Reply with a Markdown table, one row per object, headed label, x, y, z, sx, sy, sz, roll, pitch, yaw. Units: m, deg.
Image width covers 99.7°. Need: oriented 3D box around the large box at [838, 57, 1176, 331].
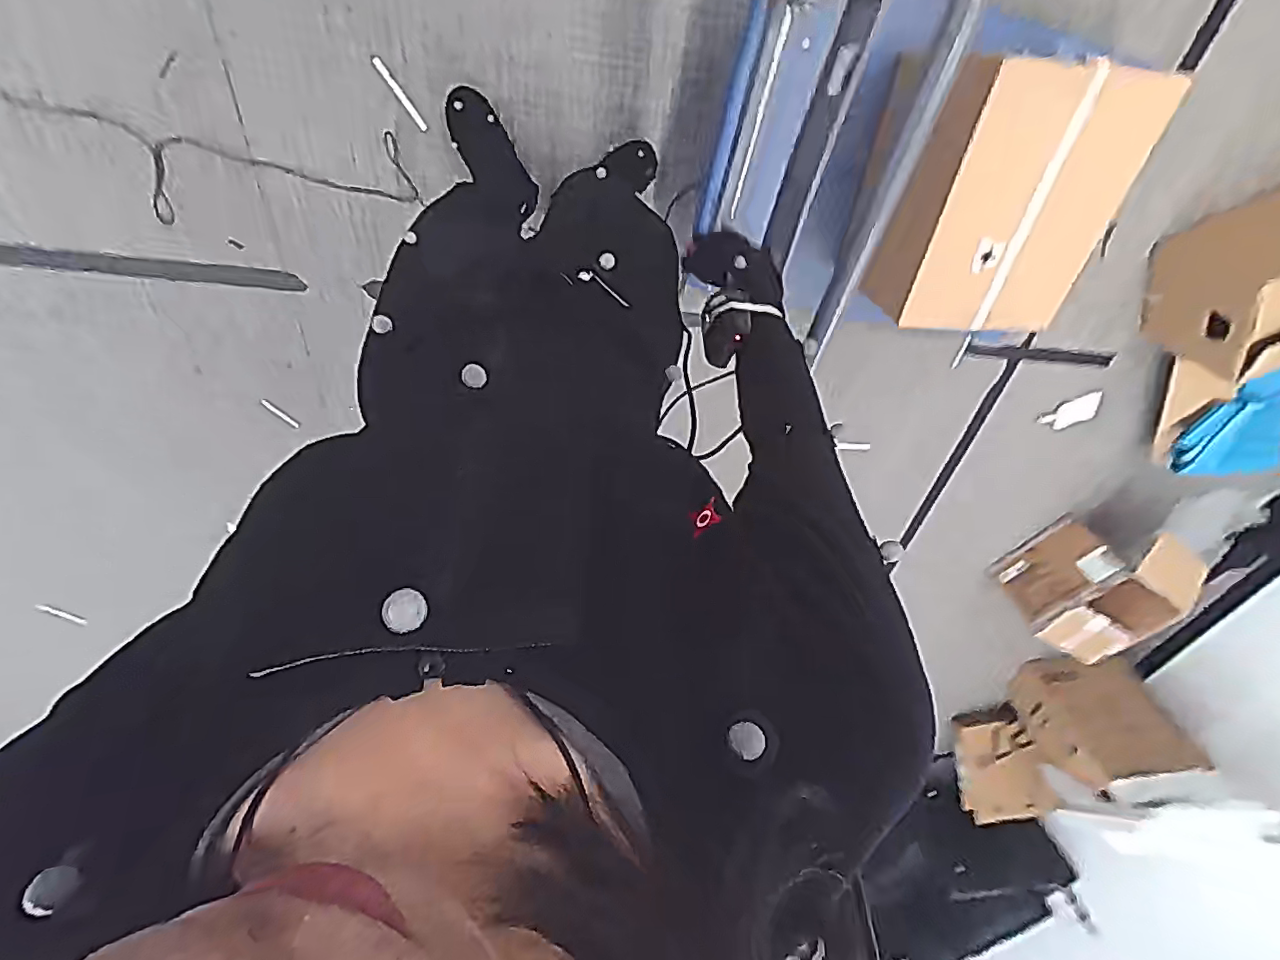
| label | x | y | z | sx | sy | sz | roll | pitch | yaw |
| --- | --- | --- | --- | --- | --- | --- | --- | --- | --- |
| large box | 0.633 | -0.541 | 1.032 | 0.320 | 0.320 | 0.408 | 1 | 130 | -7 |
